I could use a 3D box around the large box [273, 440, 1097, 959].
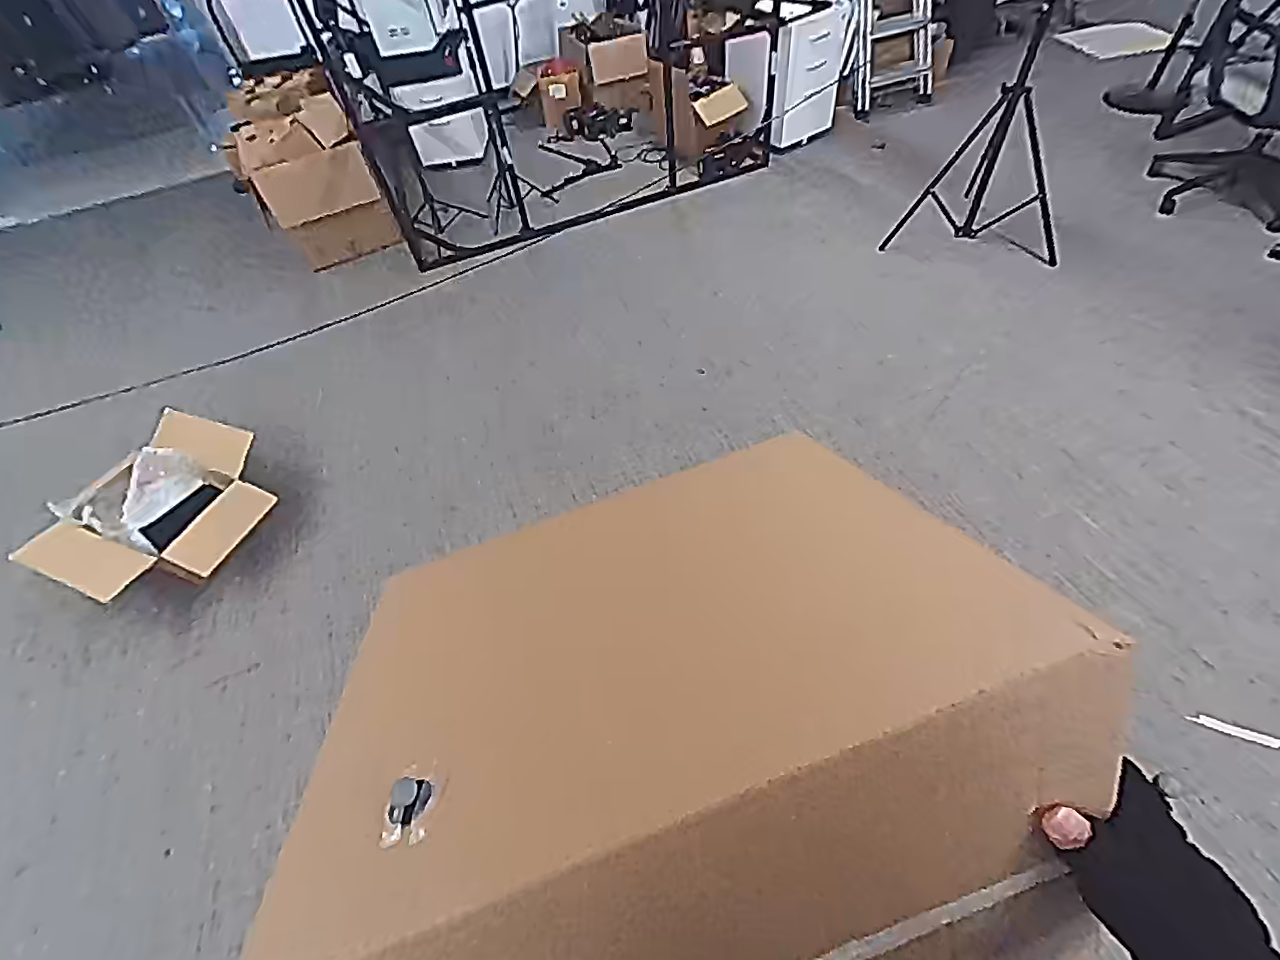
[{"bbox_3d":[0.039,0.209,0.435,0.408,0.320,0.320,-20,25,-4],"label":"large box"}]
